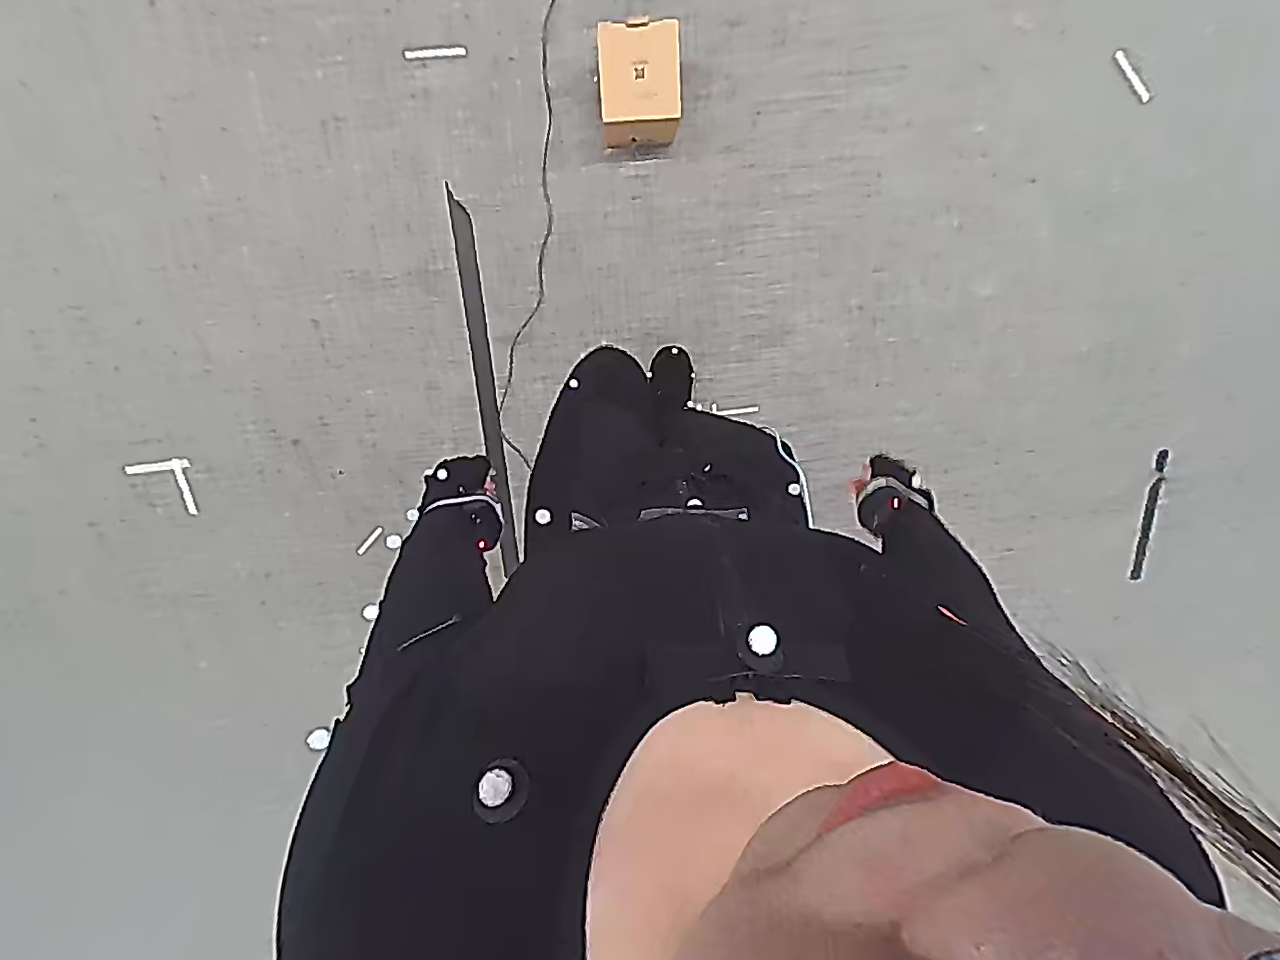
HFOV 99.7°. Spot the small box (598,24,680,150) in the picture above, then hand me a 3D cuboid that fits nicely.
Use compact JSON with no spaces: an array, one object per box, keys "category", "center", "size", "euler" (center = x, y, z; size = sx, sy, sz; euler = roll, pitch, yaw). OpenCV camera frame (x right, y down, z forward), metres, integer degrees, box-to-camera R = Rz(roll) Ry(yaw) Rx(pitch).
[{"category":"small box","center":[-0.003,-0.844,1.175],"size":[0.168,0.176,0.179],"euler":[-3,107,0]}]
